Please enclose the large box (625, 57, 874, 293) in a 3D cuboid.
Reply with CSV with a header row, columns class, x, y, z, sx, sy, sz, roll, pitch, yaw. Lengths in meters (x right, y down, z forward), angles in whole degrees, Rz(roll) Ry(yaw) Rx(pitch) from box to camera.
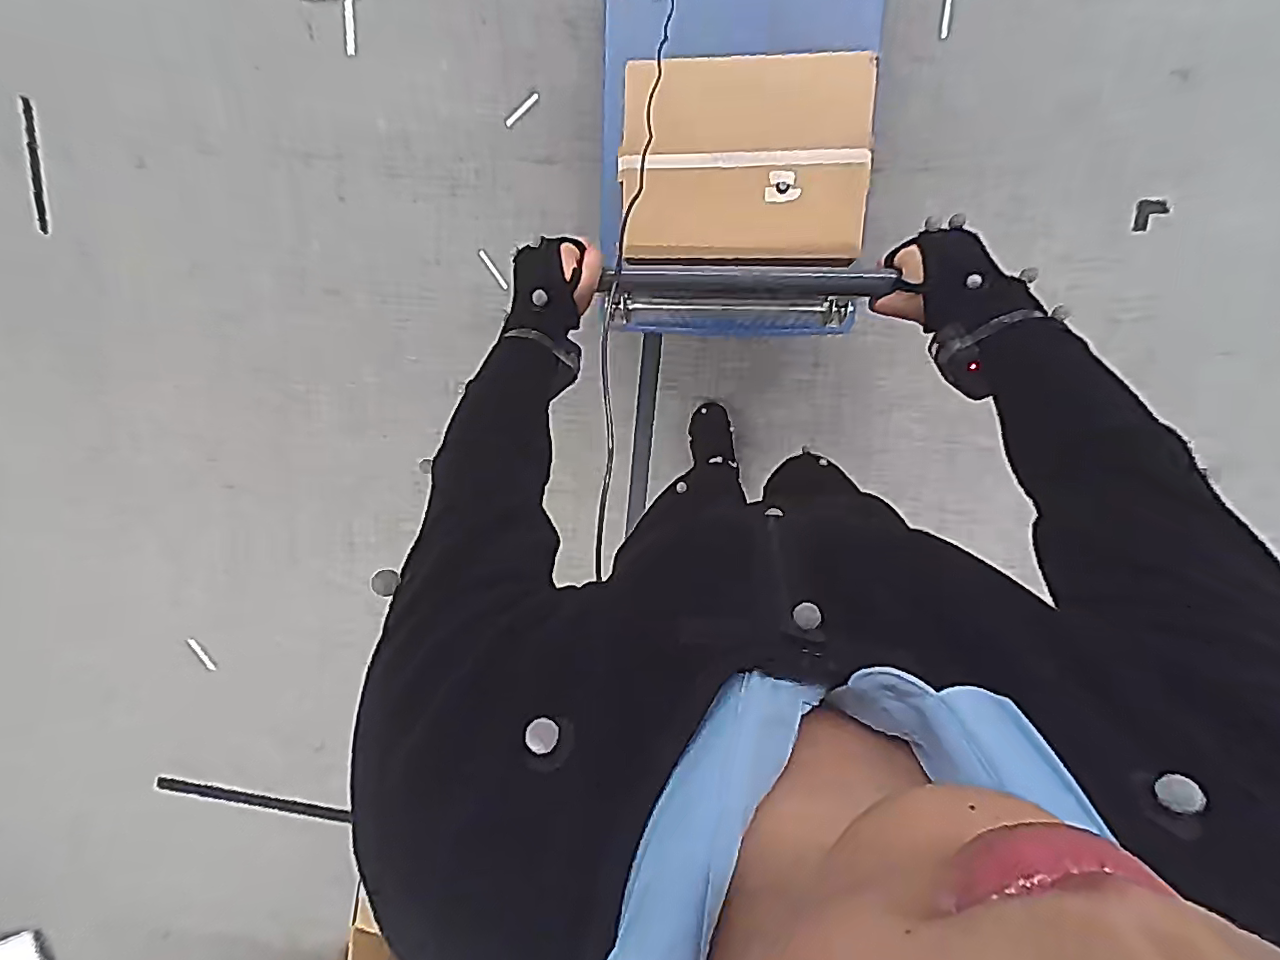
class,x,y,z,sx,sy,sz,roll,pitch,yaw
large box,0.187,-0.550,1.046,0.408,0.320,0.320,3,100,6
